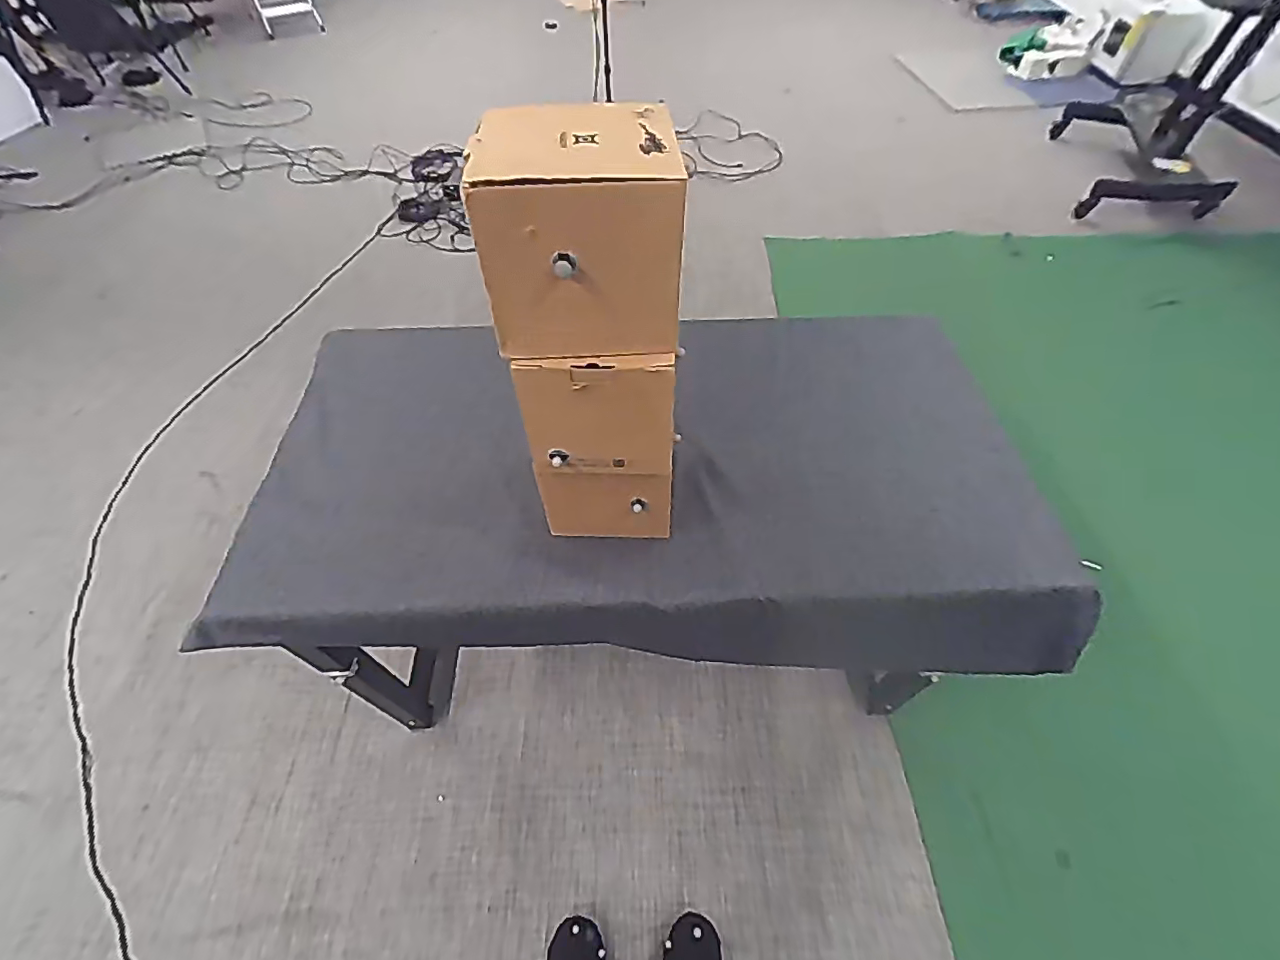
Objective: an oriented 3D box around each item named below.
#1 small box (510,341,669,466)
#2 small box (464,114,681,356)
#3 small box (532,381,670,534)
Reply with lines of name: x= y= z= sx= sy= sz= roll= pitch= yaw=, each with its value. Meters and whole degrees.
small box: x=-0.050 y=-0.128 z=0.655 sx=0.168 sy=0.176 sz=0.179 roll=-2 pitch=53 yaw=0
small box: x=-0.059 y=-0.239 z=0.537 sx=0.179 sy=0.176 sz=0.168 roll=-5 pitch=50 yaw=-4
small box: x=-0.046 y=-0.032 z=0.788 sx=0.179 sy=0.176 sz=0.168 roll=0 pitch=52 yaw=2
